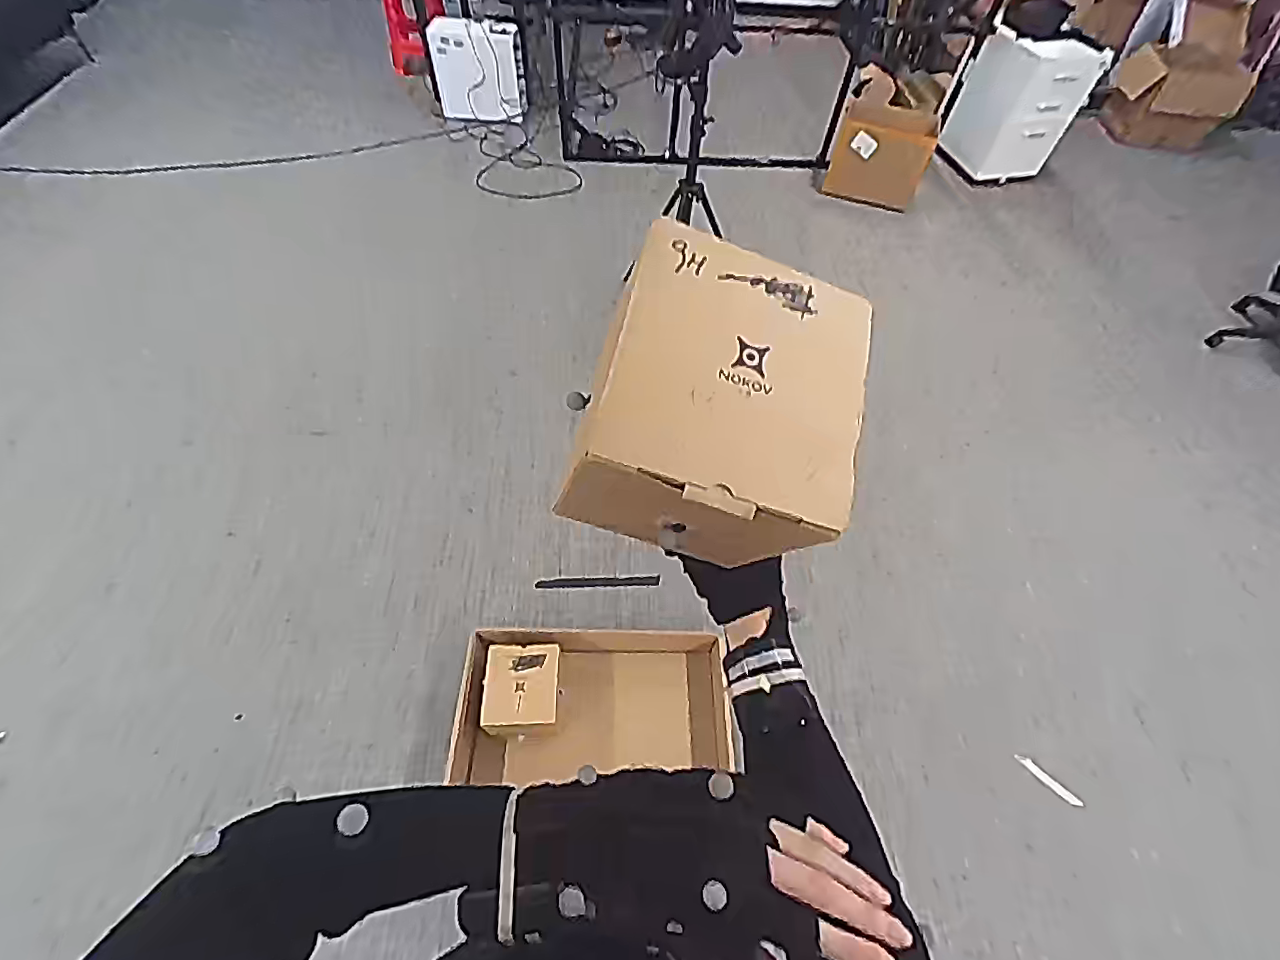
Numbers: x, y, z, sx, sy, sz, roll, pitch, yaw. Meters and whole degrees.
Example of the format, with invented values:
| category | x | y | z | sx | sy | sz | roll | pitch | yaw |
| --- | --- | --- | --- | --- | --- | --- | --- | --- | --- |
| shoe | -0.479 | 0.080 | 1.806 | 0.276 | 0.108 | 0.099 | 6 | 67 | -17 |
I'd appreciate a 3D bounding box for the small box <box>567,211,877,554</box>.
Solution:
| category | x | y | z | sx | sy | sz | roll | pitch | yaw |
| --- | --- | --- | --- | --- | --- | --- | --- | --- | --- |
| small box | 0.048 | -0.052 | 0.412 | 0.168 | 0.176 | 0.179 | 18 | 71 | -10 |
